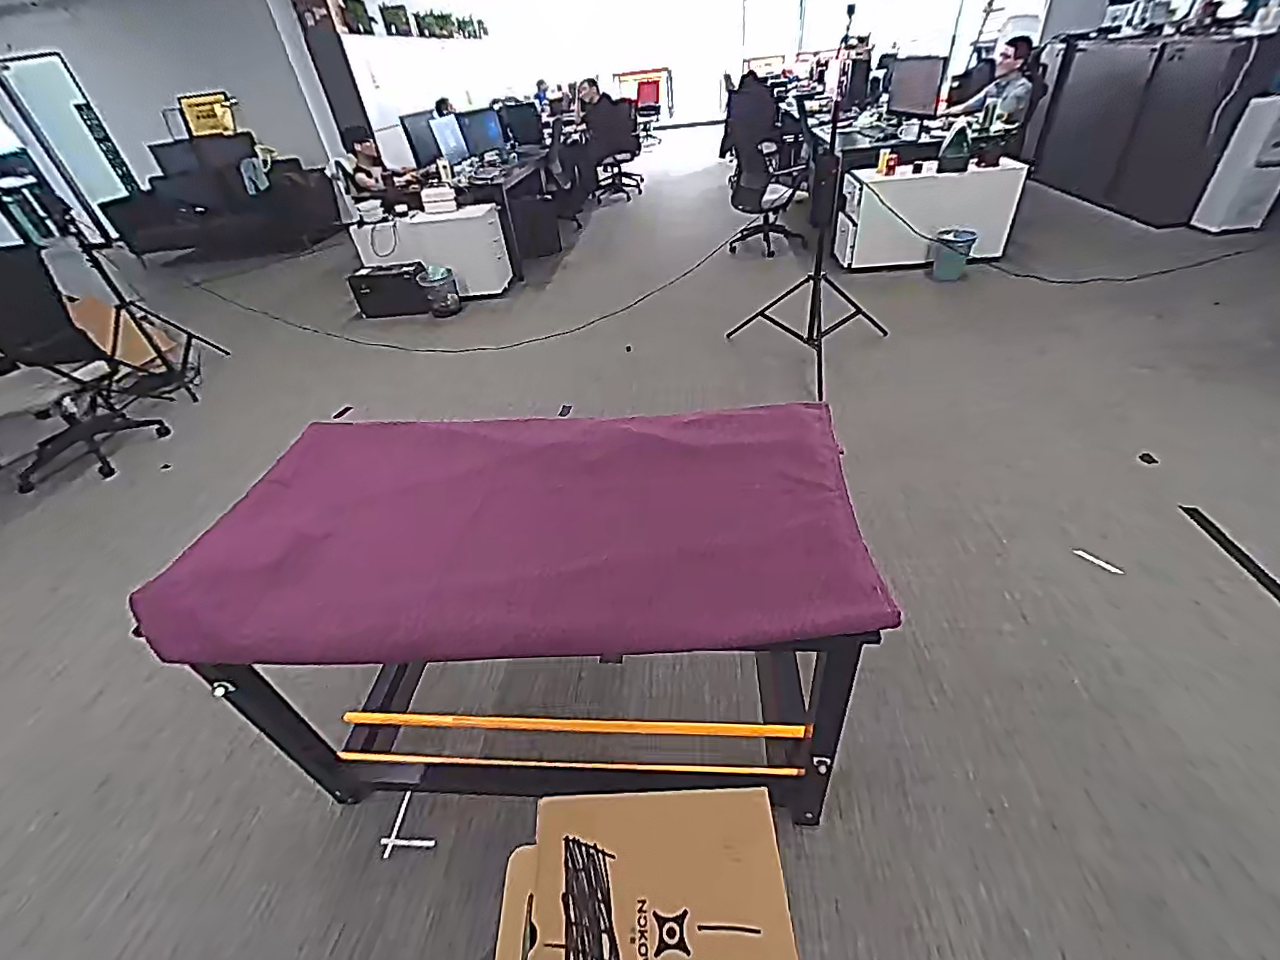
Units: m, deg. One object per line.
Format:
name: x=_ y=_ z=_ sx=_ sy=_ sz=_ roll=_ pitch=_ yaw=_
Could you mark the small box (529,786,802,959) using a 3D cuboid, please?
small box: x=0.019 y=0.352 z=0.407 sx=0.179 sy=0.176 sz=0.168 roll=-3 pitch=42 yaw=0
